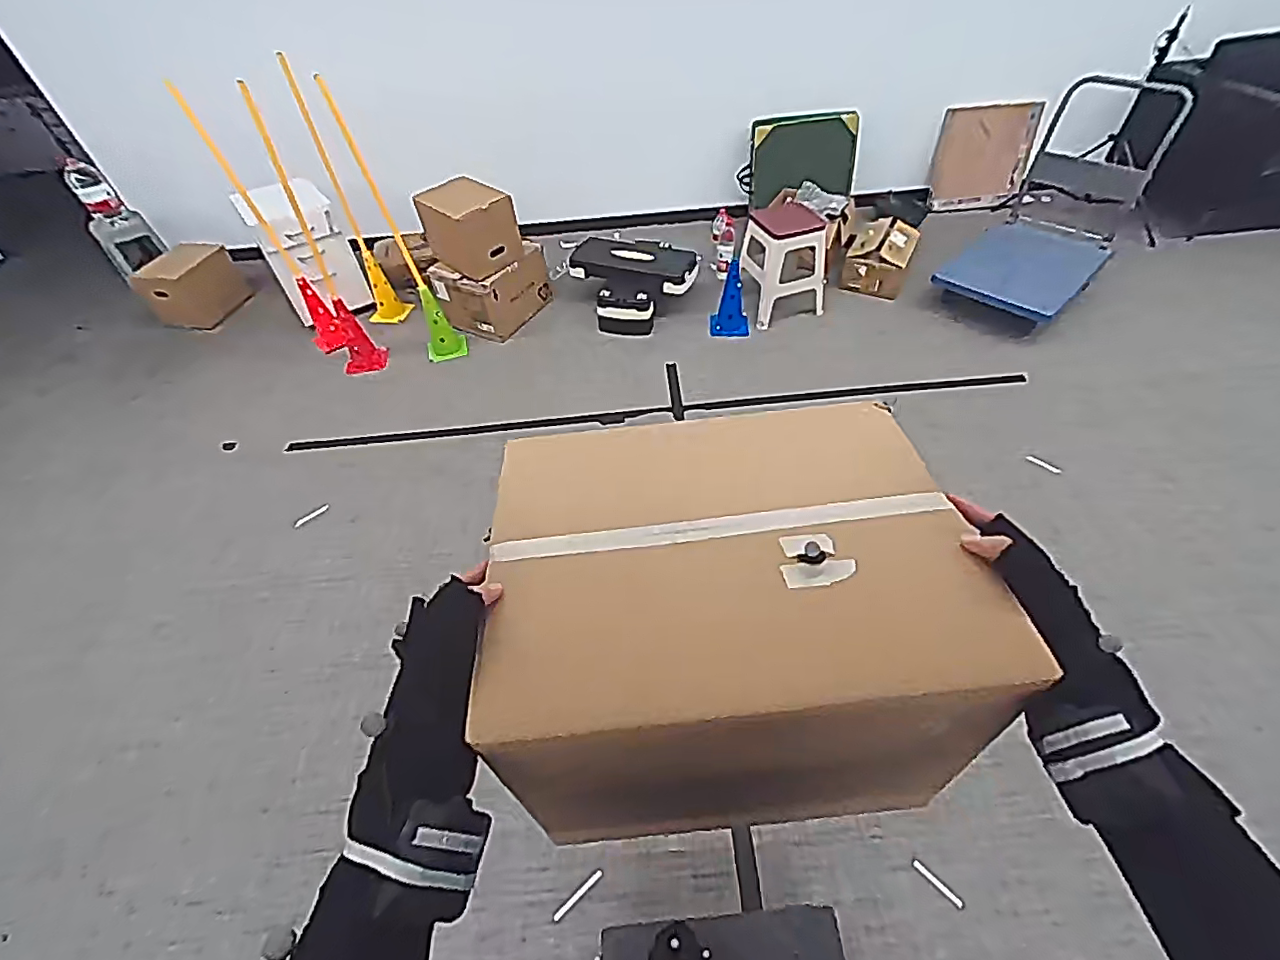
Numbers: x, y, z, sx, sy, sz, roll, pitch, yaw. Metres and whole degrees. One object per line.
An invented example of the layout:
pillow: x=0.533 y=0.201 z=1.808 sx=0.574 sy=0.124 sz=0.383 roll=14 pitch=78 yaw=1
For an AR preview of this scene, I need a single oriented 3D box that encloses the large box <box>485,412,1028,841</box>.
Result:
large box: x=0.082 y=0.159 z=0.593 sx=0.408 sy=0.320 sz=0.320 roll=-7 pitch=45 yaw=0
